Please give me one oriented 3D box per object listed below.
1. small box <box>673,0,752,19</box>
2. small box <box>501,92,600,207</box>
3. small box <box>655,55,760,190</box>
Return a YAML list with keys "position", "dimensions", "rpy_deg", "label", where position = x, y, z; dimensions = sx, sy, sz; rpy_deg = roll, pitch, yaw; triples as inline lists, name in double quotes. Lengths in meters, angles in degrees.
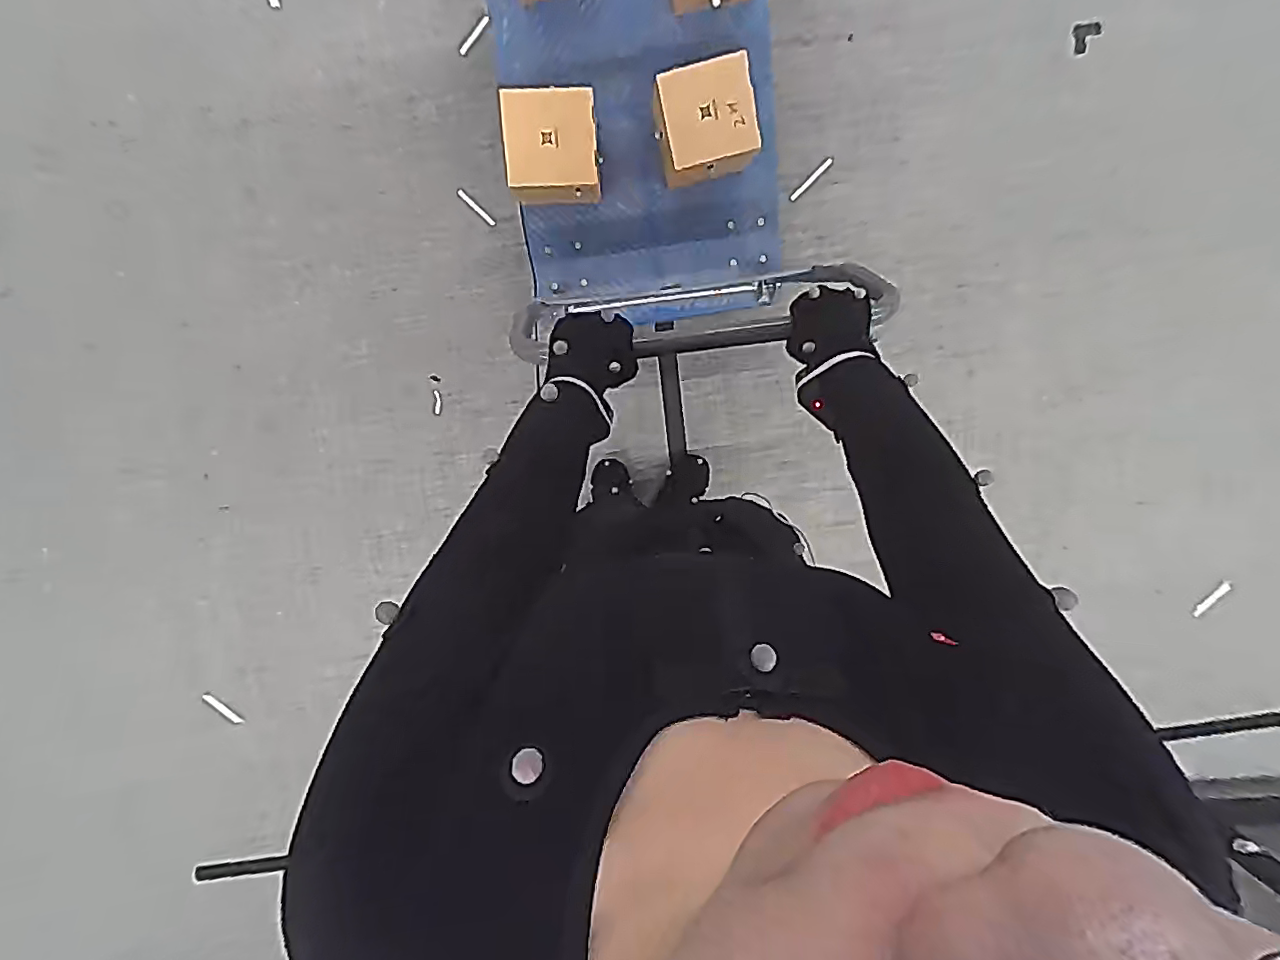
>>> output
- position: [0.139, -1.022, 1.011]
  dimensions: [0.168, 0.176, 0.179]
  rpy_deg: [-11, 107, 2]
  label: "small box"
- position: [-0.175, -0.666, 1.107]
  dimensions: [0.179, 0.176, 0.168]
  rpy_deg: [-3, 106, -2]
  label: "small box"
- position: [0.130, -0.713, 1.101]
  dimensions: [0.179, 0.176, 0.168]
  rpy_deg: [-14, 106, 3]
  label: "small box"
